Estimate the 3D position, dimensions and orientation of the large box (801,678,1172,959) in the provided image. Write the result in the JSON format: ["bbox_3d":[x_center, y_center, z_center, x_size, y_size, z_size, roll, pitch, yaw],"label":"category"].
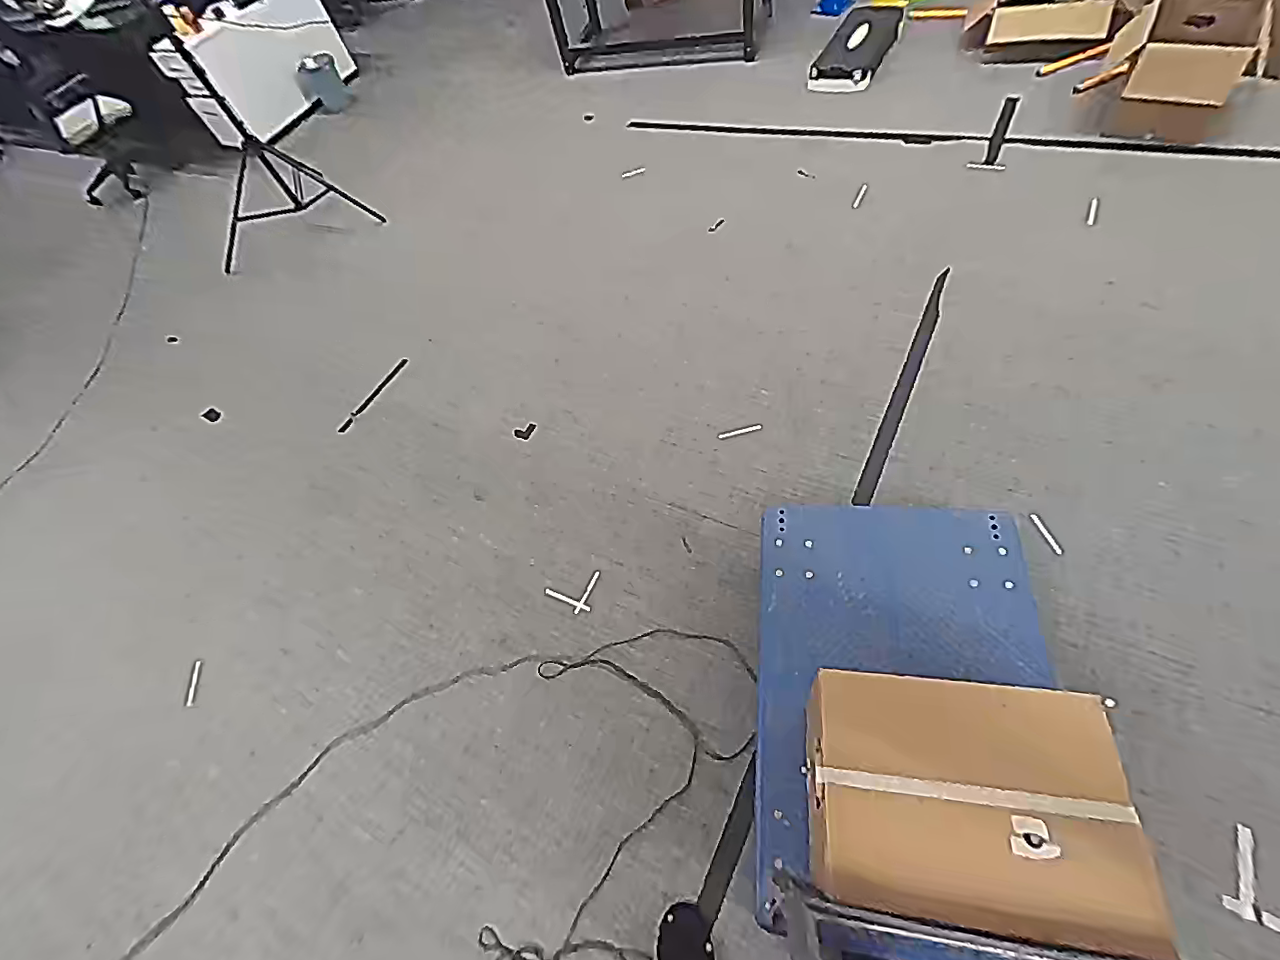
[{"bbox_3d":[0.489,0.537,0.888,0.408,0.320,0.320,2,58,12],"label":"large box"}]
